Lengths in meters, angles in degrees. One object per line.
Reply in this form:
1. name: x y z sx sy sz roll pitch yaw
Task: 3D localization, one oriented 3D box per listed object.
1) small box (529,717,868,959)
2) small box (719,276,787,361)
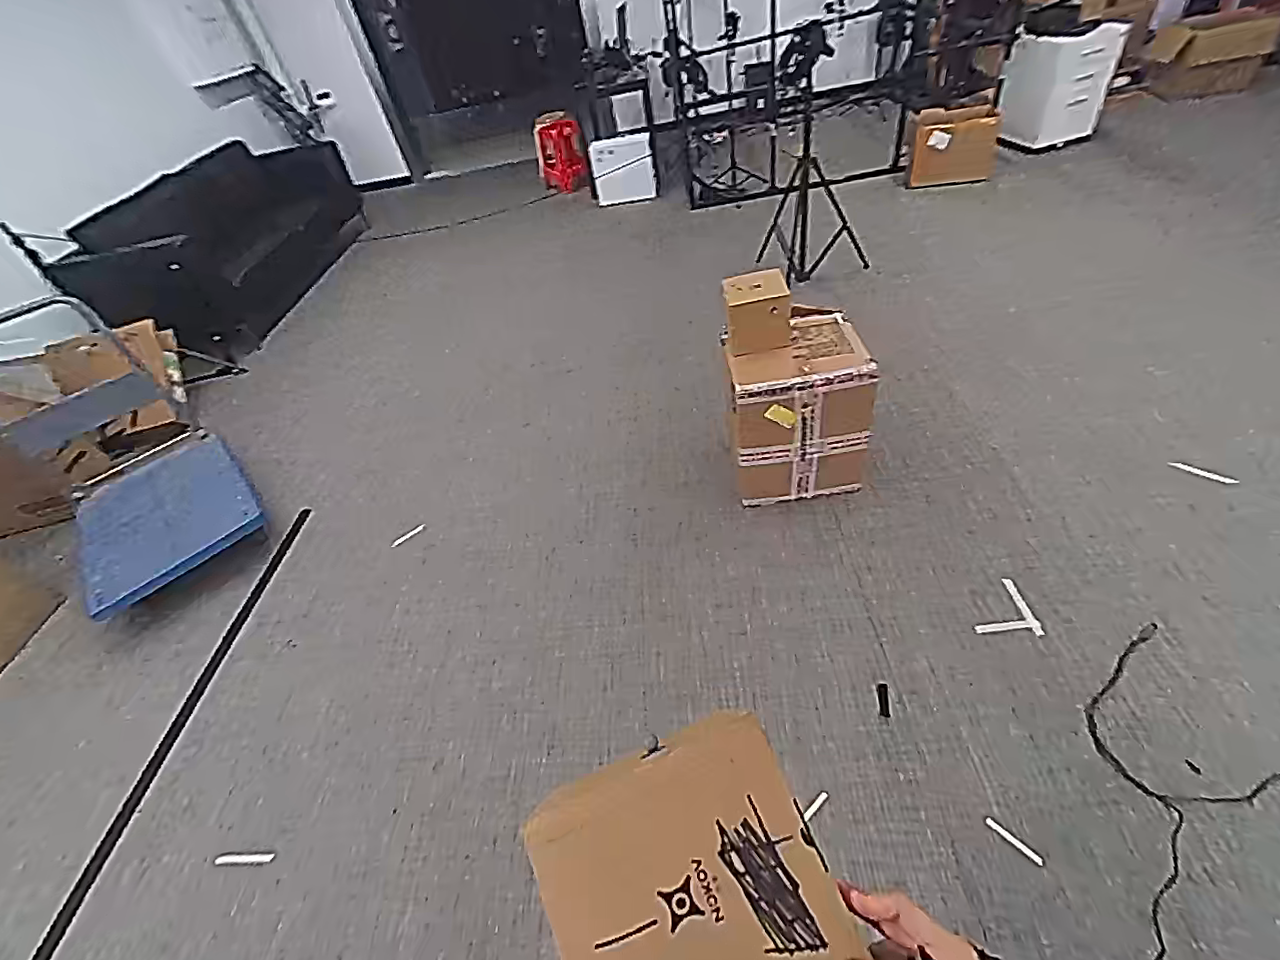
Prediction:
1. small box: 0.033 0.299 0.420 0.179 0.176 0.168 -22 68 -9
2. small box: 0.341 -0.482 1.625 0.179 0.176 0.168 -9 44 9
